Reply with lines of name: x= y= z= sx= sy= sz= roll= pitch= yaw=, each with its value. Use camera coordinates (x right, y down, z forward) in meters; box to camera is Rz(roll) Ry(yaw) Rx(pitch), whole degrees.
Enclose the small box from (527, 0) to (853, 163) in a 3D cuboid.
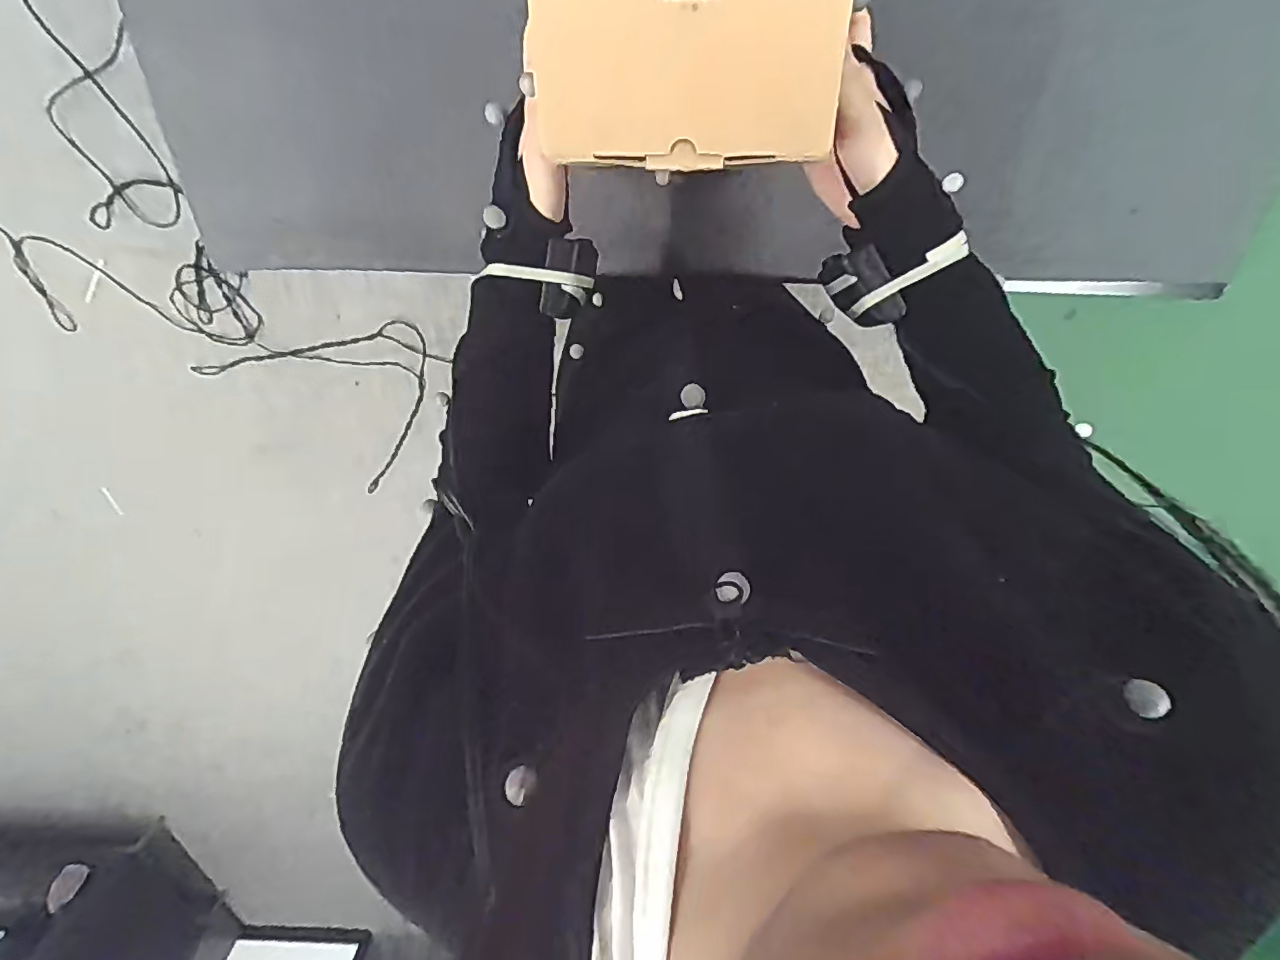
small box: x=0.027 y=-0.297 z=0.328 sx=0.168 sy=0.176 sz=0.179 roll=1 pitch=120 yaw=3
